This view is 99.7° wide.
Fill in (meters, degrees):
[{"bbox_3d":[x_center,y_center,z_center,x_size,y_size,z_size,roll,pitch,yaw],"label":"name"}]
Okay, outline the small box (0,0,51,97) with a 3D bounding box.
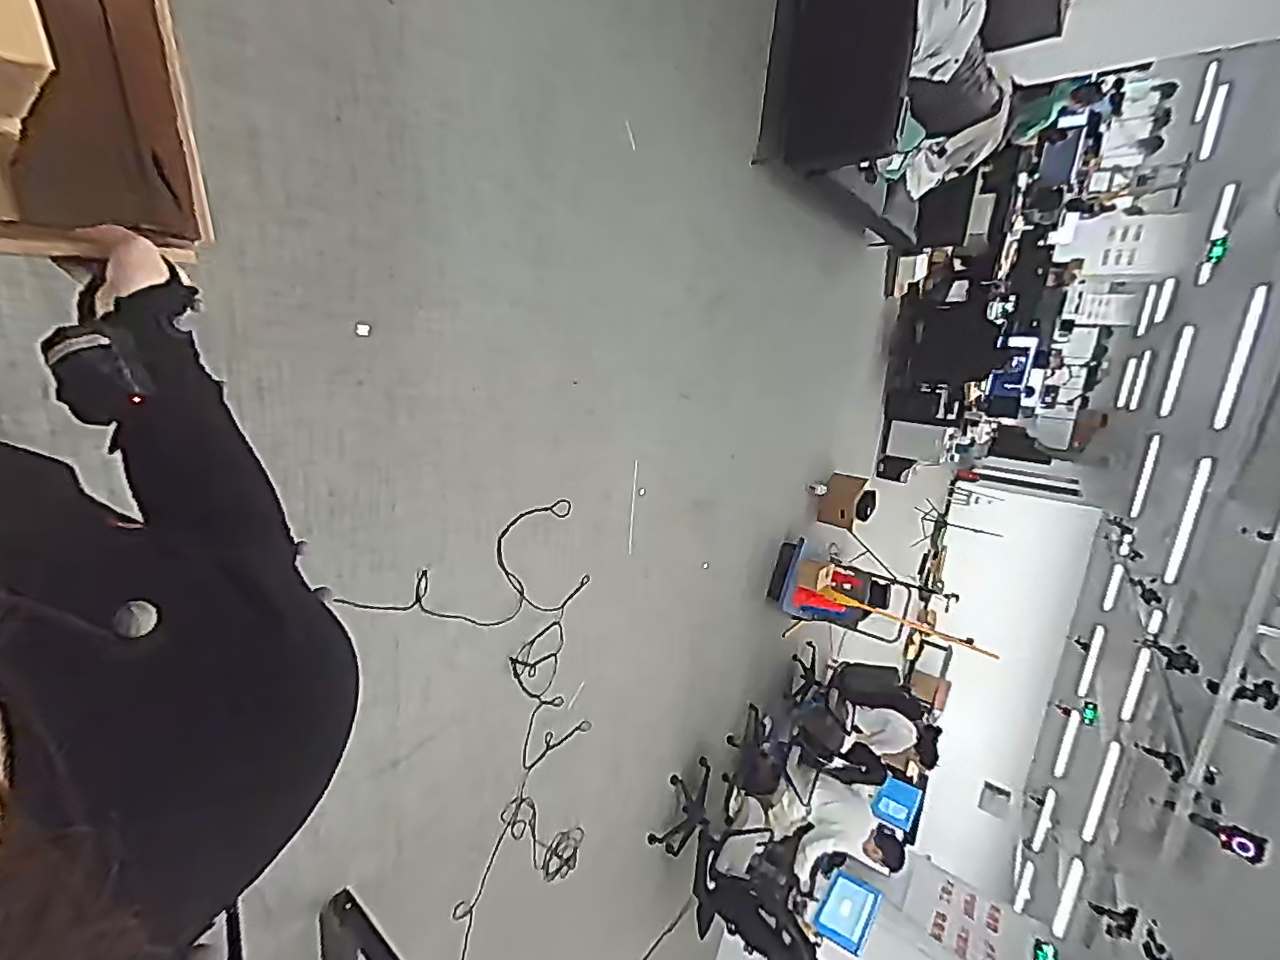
[{"bbox_3d":[-0.421,-0.292,0.239,0.179,0.176,0.168,-23,122,-48],"label":"small box"}]
